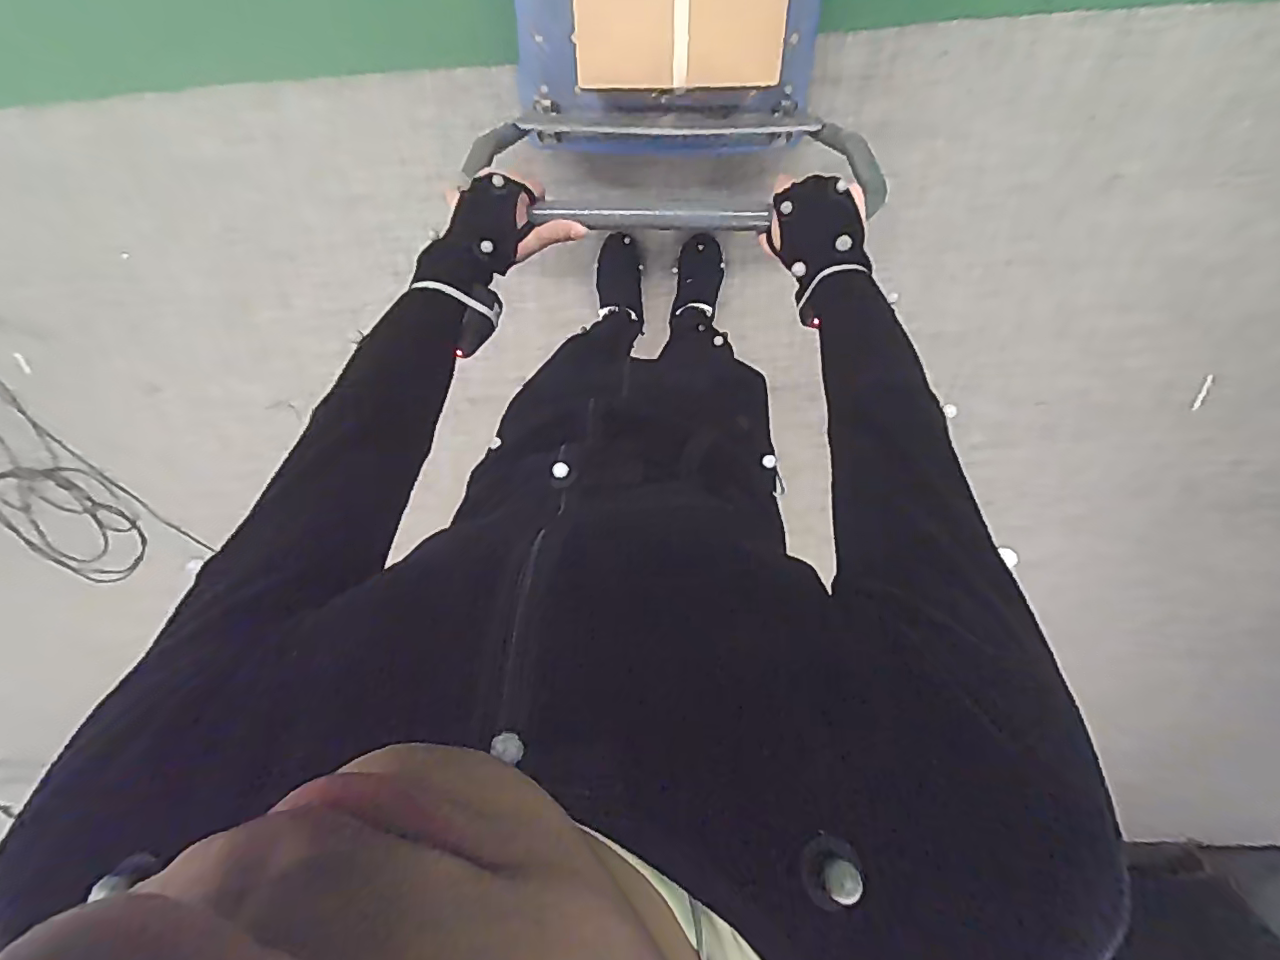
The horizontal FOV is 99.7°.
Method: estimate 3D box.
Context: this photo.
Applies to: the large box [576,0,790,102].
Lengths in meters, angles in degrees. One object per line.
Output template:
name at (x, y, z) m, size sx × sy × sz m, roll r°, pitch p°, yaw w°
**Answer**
large box at (0.068, -0.852, 0.859) m, size 0.320 × 0.320 × 0.408 m, roll 1°, pitch 124°, yaw 2°
